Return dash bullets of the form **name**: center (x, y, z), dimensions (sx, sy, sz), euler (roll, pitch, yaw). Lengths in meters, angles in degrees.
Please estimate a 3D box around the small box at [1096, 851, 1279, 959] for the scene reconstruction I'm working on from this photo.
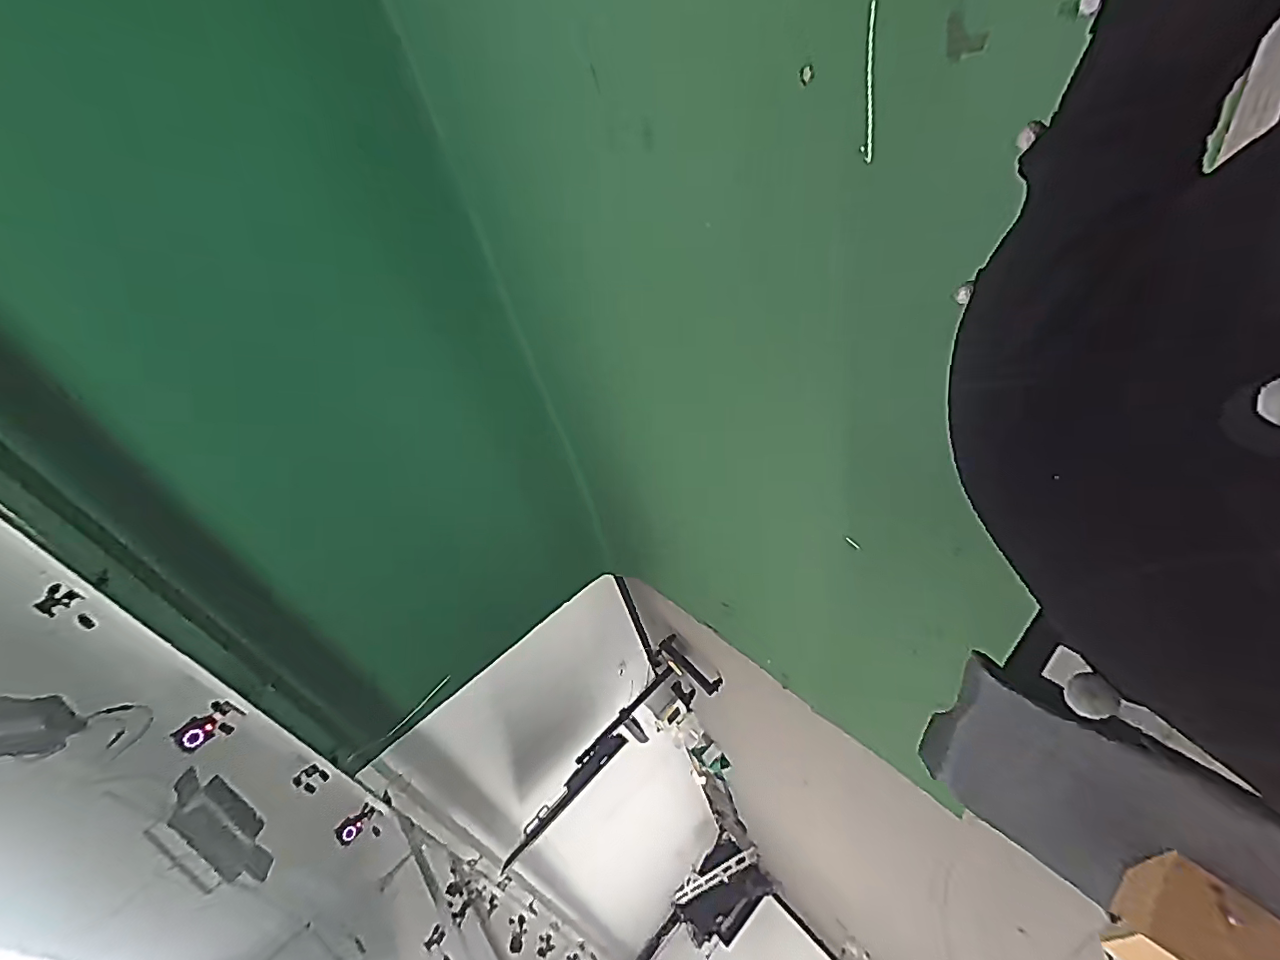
- **small box**: center (0.944, 0.786, 0.926), dimensions (0.168, 0.176, 0.179), euler (34, 149, 36)
